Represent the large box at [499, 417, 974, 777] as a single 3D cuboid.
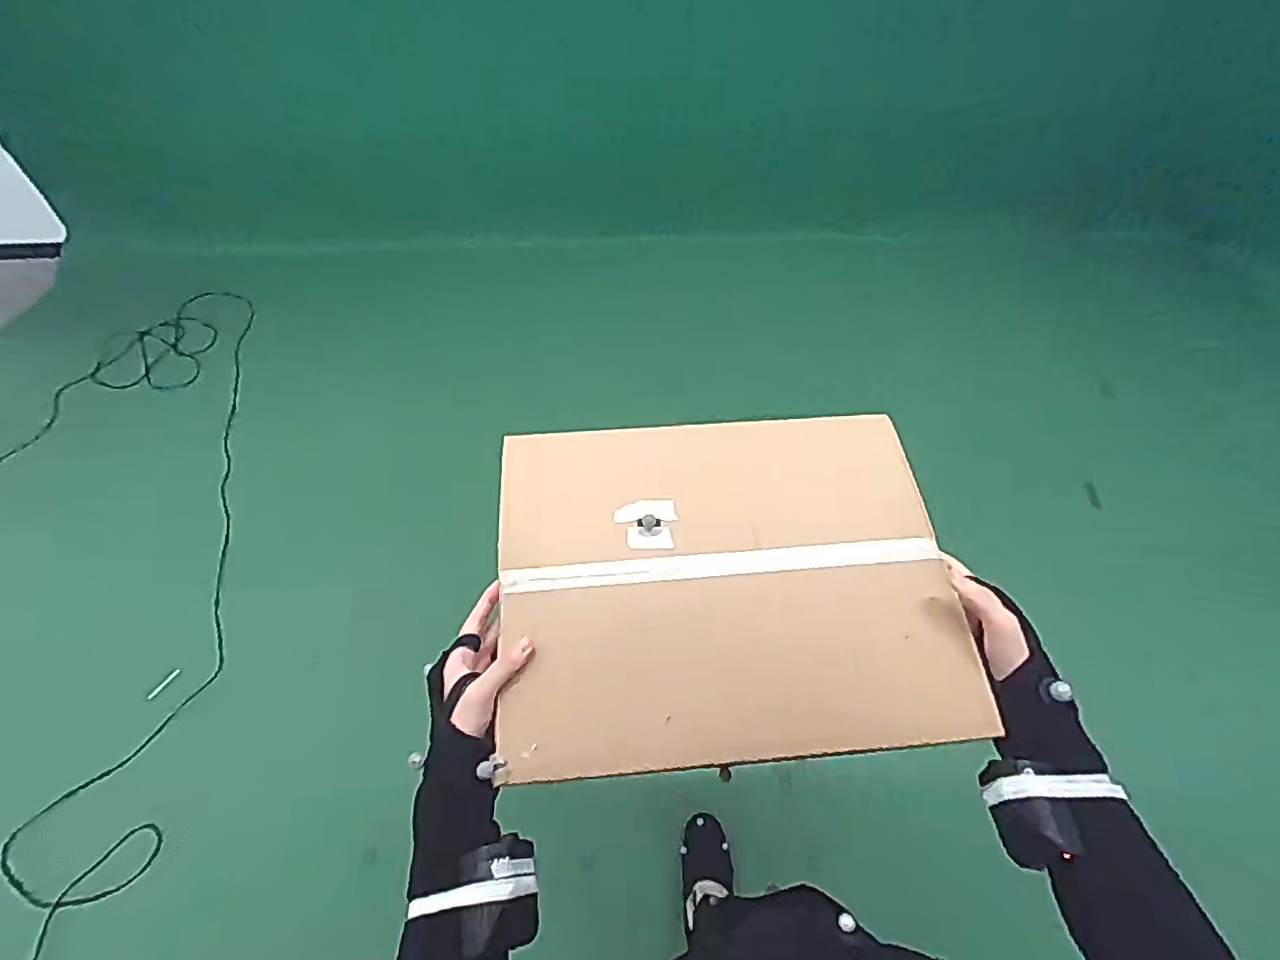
[{"bbox_3d":[0.072,0.149,0.639,0.408,0.320,0.320,-4,63,-2],"label":"large box"}]
